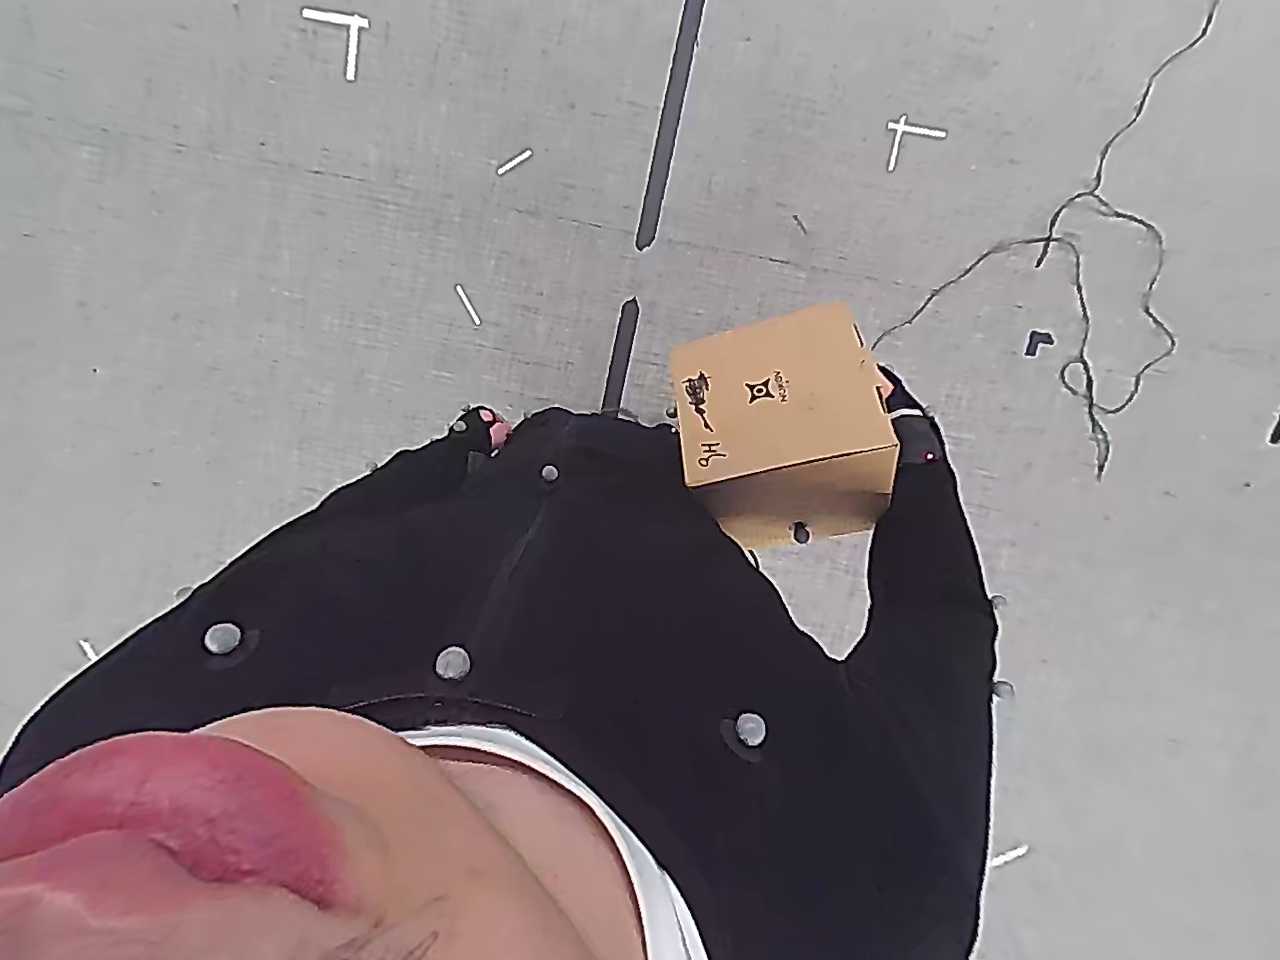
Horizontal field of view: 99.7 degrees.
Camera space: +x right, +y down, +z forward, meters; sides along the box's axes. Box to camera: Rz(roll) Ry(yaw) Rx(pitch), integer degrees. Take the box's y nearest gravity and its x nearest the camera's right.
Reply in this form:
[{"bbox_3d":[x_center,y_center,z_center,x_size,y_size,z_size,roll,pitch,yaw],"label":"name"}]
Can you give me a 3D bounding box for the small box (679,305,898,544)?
[{"bbox_3d":[0.149,-0.047,0.568,0.179,0.176,0.168,-11,58,14],"label":"small box"}]
